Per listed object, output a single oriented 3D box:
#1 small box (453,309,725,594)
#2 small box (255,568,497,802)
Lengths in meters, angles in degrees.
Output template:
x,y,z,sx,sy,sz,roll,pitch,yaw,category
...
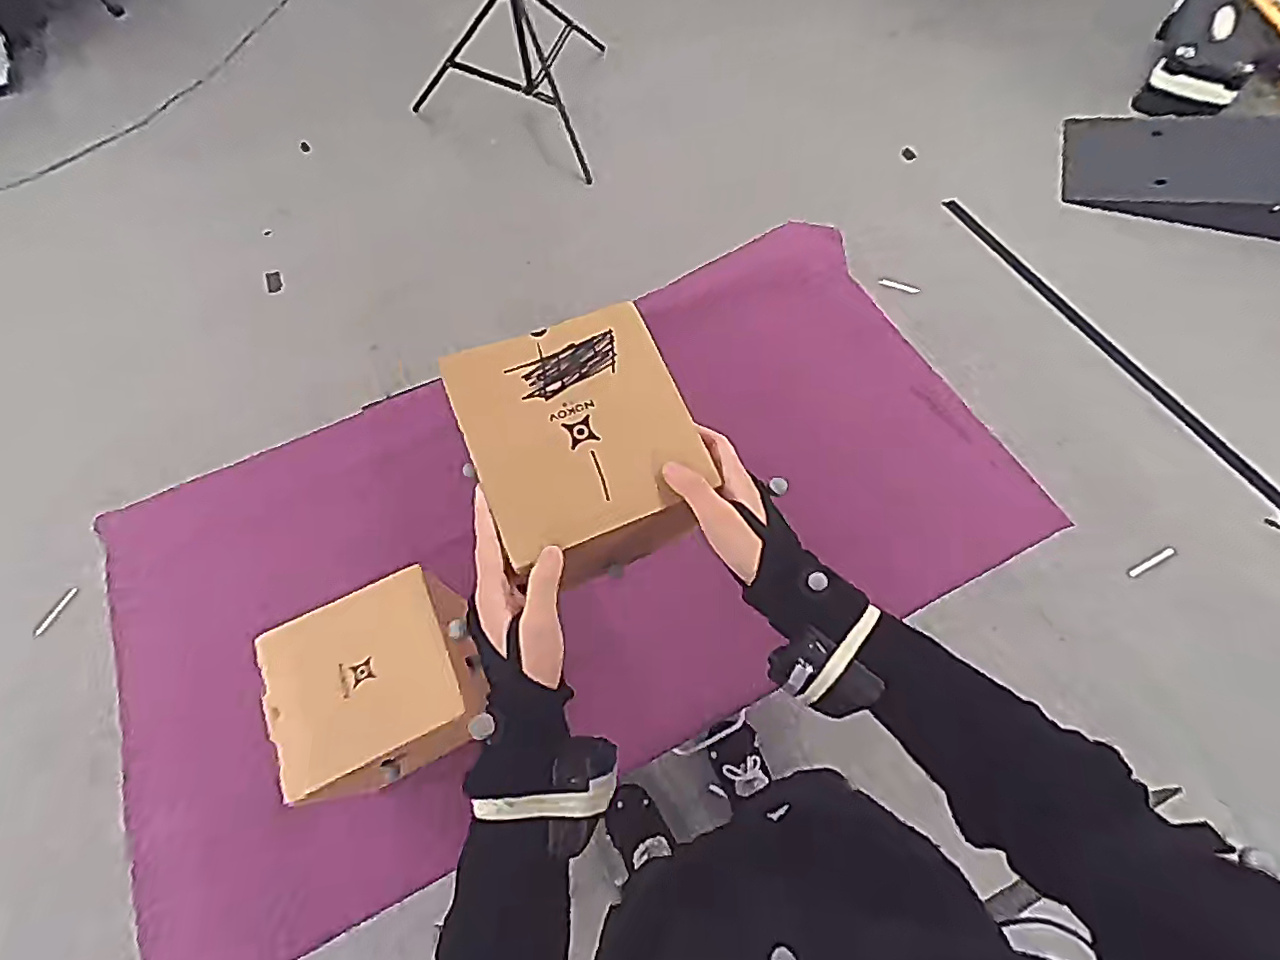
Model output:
x,y,z,sx,sy,sz,roll,pitch,yaw,category
-0.049,-0.015,0.490,0.168,0.176,0.179,-21,73,-11,small box
-0.276,0.224,0.605,0.179,0.176,0.168,-25,67,-9,small box
